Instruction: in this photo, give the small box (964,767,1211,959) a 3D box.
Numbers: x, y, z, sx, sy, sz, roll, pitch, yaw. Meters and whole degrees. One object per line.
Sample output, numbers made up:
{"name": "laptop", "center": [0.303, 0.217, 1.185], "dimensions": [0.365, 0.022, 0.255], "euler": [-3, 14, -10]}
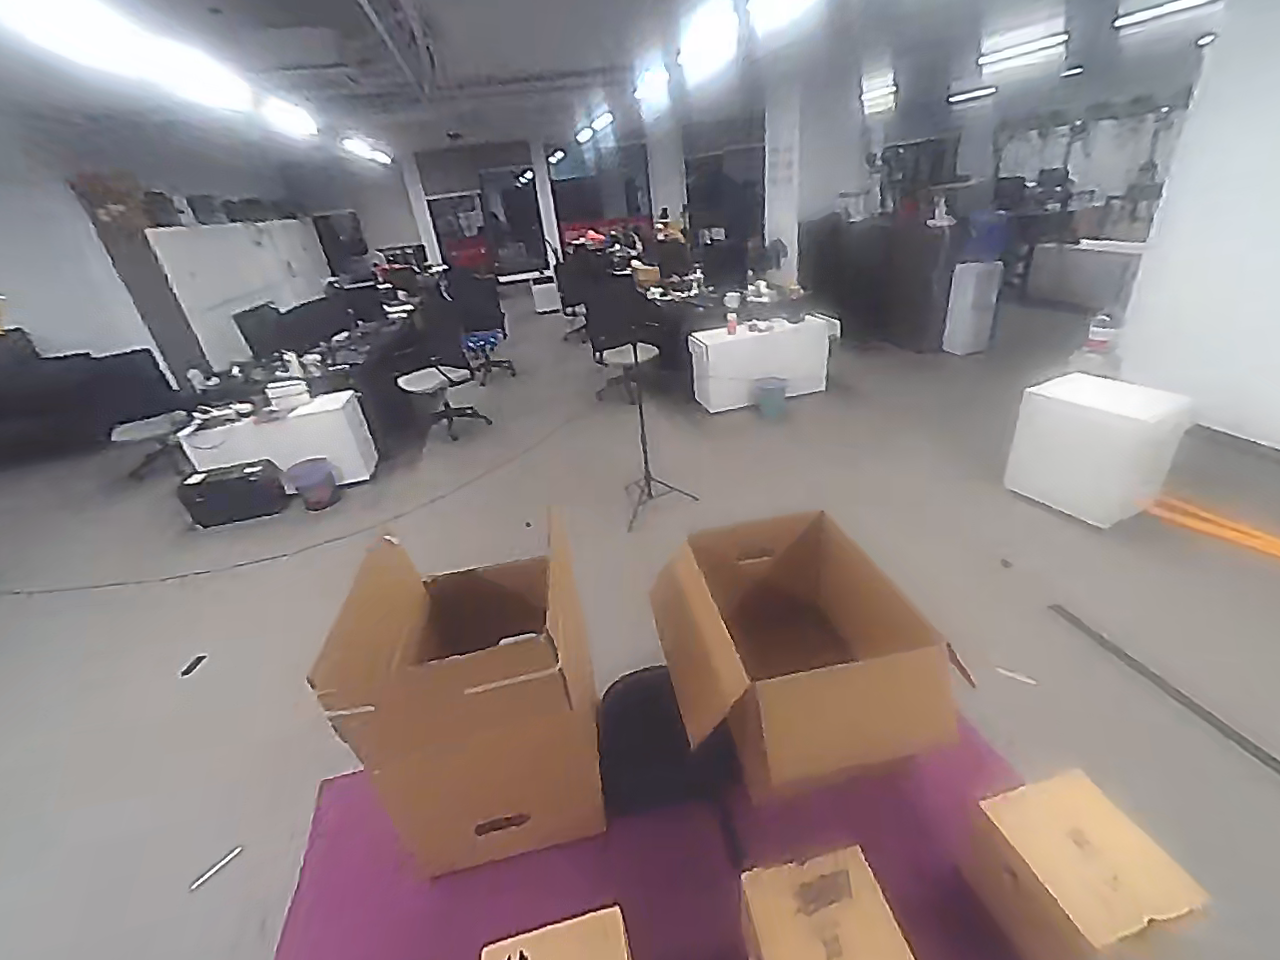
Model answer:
{"name": "small box", "center": [0.572, 0.532, 0.723], "dimensions": [0.168, 0.176, 0.179], "euler": [-13, 29, -7]}
